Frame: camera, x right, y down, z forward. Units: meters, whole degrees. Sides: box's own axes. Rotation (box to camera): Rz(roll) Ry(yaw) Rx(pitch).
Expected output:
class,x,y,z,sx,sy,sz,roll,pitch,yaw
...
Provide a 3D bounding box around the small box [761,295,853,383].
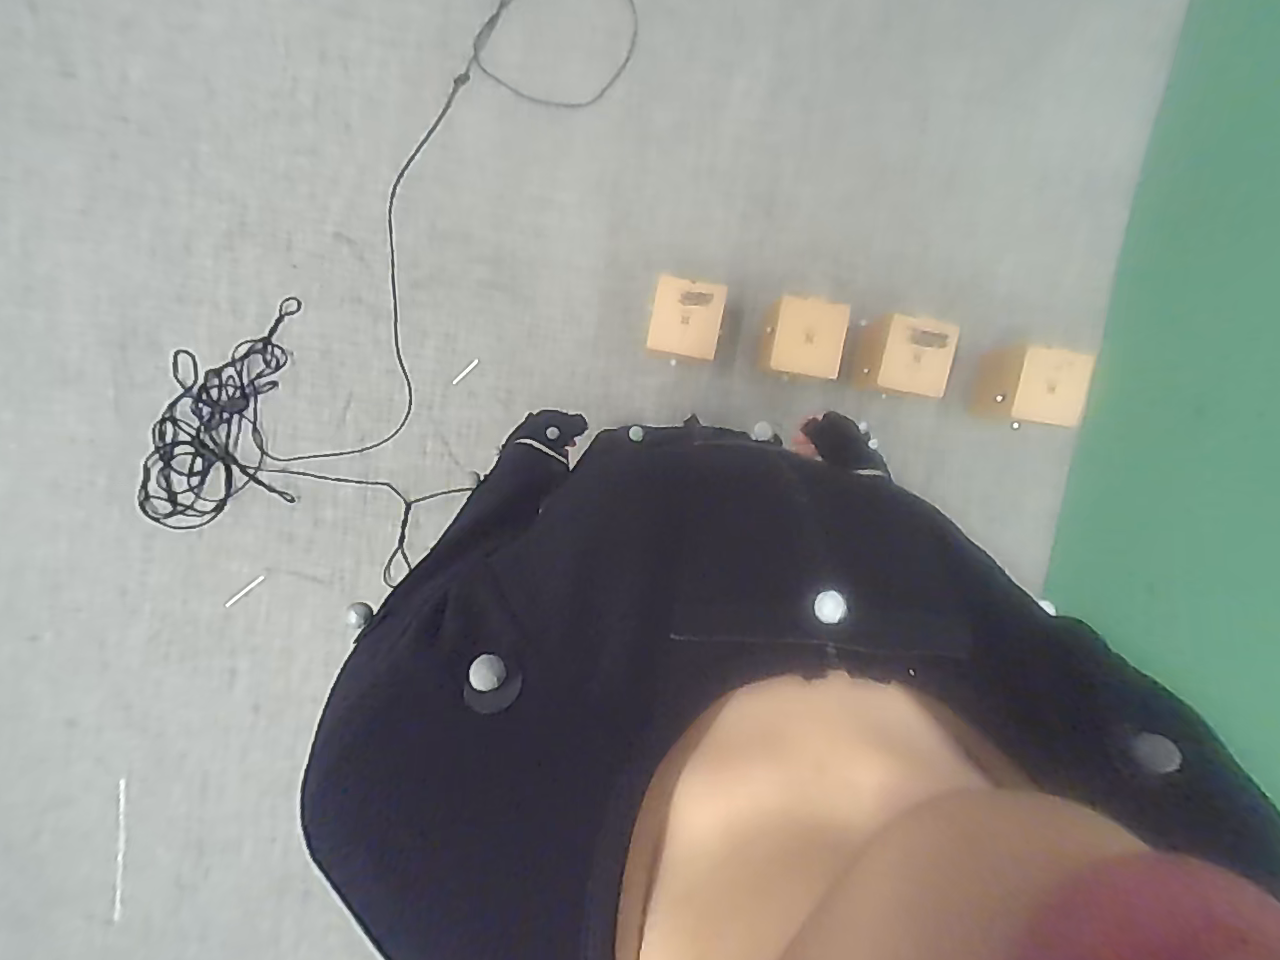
class,x,y,z,sx,sy,sz,roll,pitch,yaw
small box,0.407,-0.344,1.351,0.168,0.176,0.179,9,95,0

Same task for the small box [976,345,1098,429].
class,x,y,z,sx,sy,sz,roll,pitch,yaw
small box,0.986,-0.229,1.359,0.168,0.176,0.179,9,96,-1

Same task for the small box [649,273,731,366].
class,x,y,z,sx,sy,sz,roll,pitch,yaw
small box,0.117,-0.391,1.347,0.168,0.176,0.179,11,97,0
